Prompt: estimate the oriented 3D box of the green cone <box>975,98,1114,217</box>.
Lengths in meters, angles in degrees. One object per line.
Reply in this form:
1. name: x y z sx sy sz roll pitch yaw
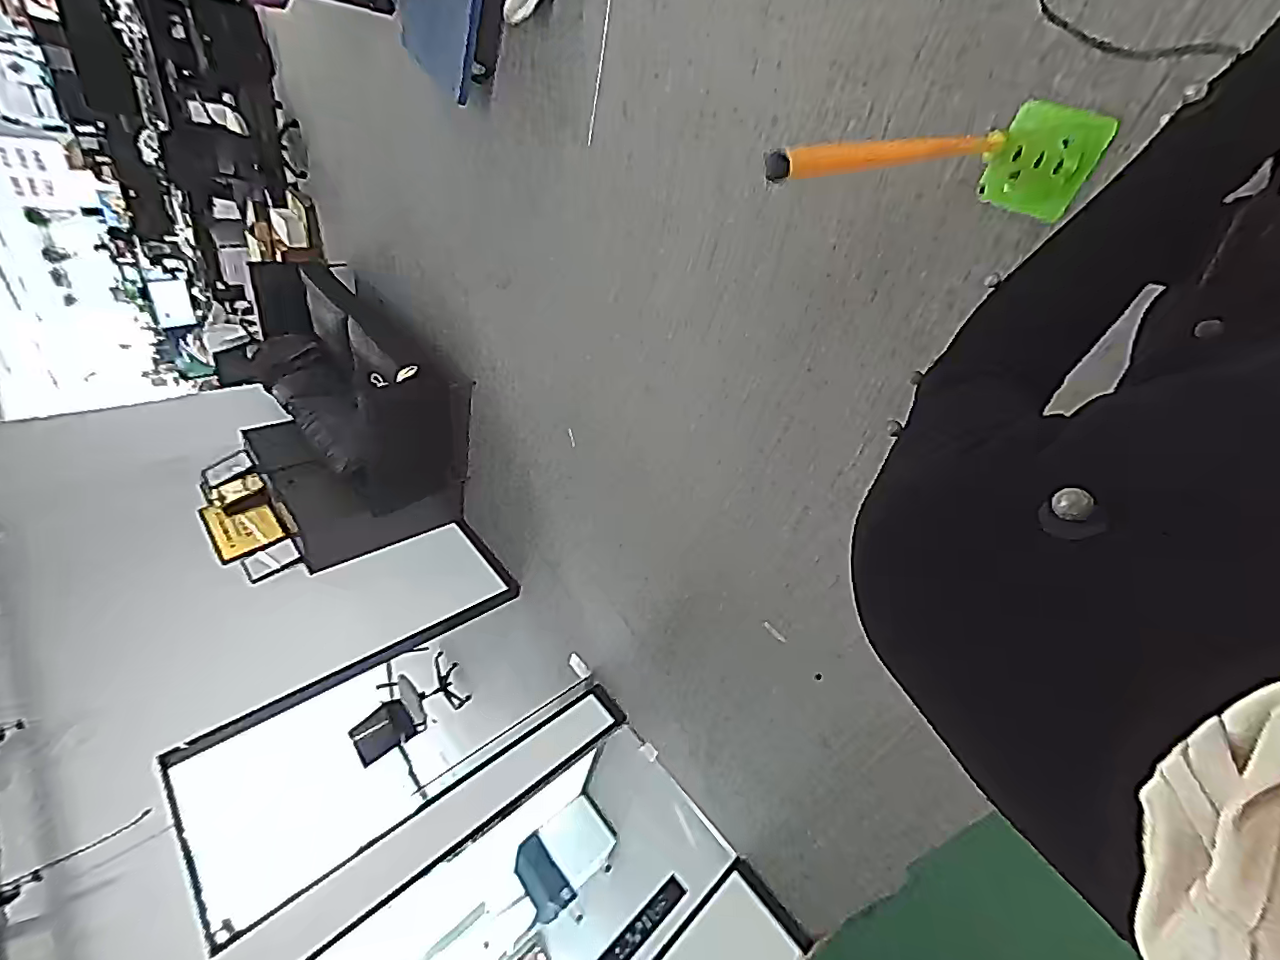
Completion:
1. green cone: 0.778 -0.674 1.103 0.200 0.368 0.202 40 132 28
